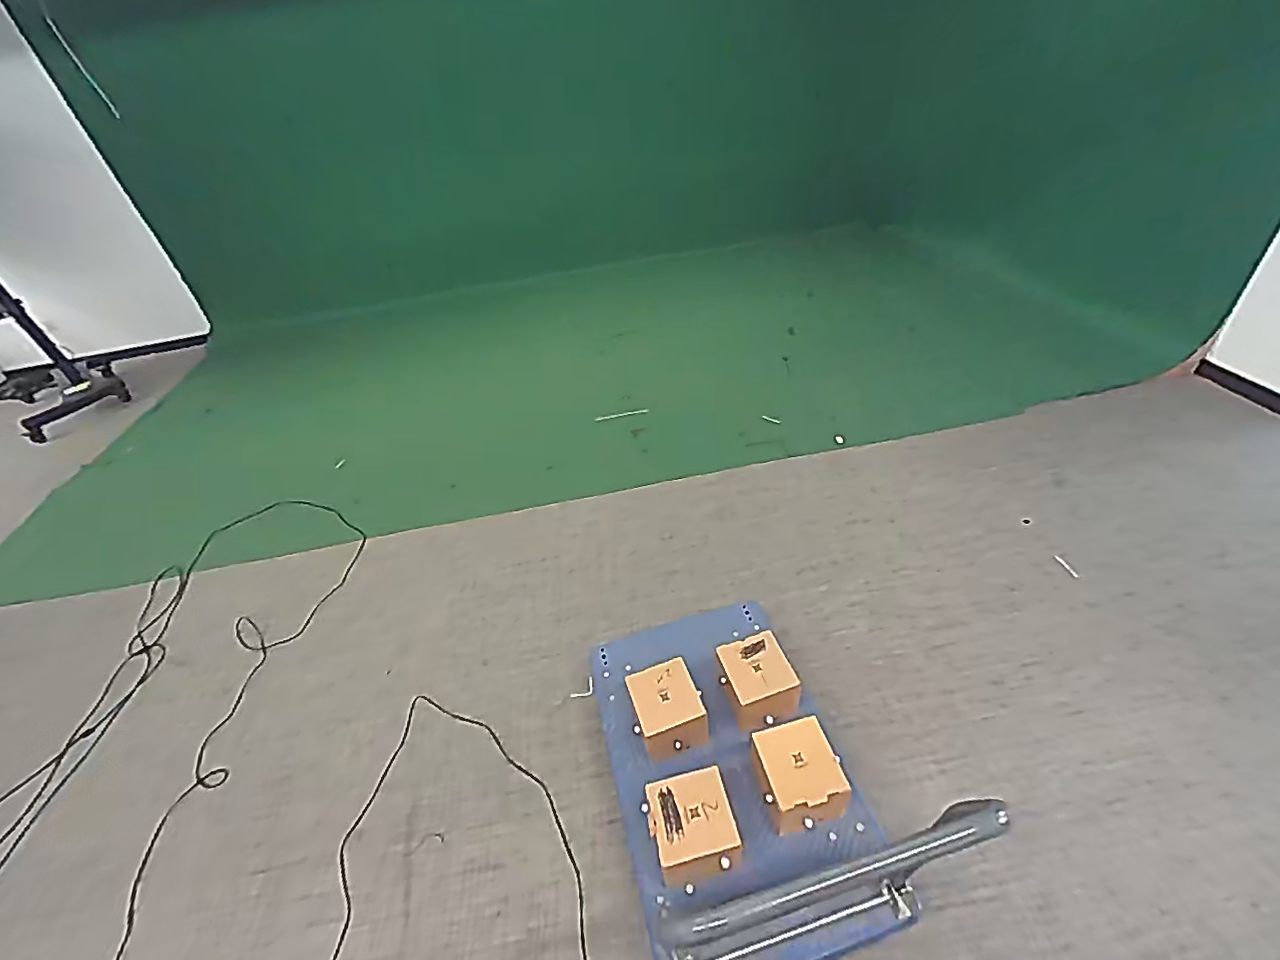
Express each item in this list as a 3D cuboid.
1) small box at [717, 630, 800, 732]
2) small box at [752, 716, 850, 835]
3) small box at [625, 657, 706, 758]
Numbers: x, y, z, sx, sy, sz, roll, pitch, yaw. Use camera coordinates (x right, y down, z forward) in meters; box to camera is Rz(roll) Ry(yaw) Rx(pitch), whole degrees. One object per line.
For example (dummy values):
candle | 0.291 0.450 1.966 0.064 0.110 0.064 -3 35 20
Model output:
small box | 0.317 0.549 1.474 0.168 0.176 0.179 -16 41 -8
small box | 0.372 0.703 1.286 0.168 0.176 0.179 -14 39 -5
small box | 0.071 0.612 1.443 0.168 0.176 0.179 -16 41 -10
